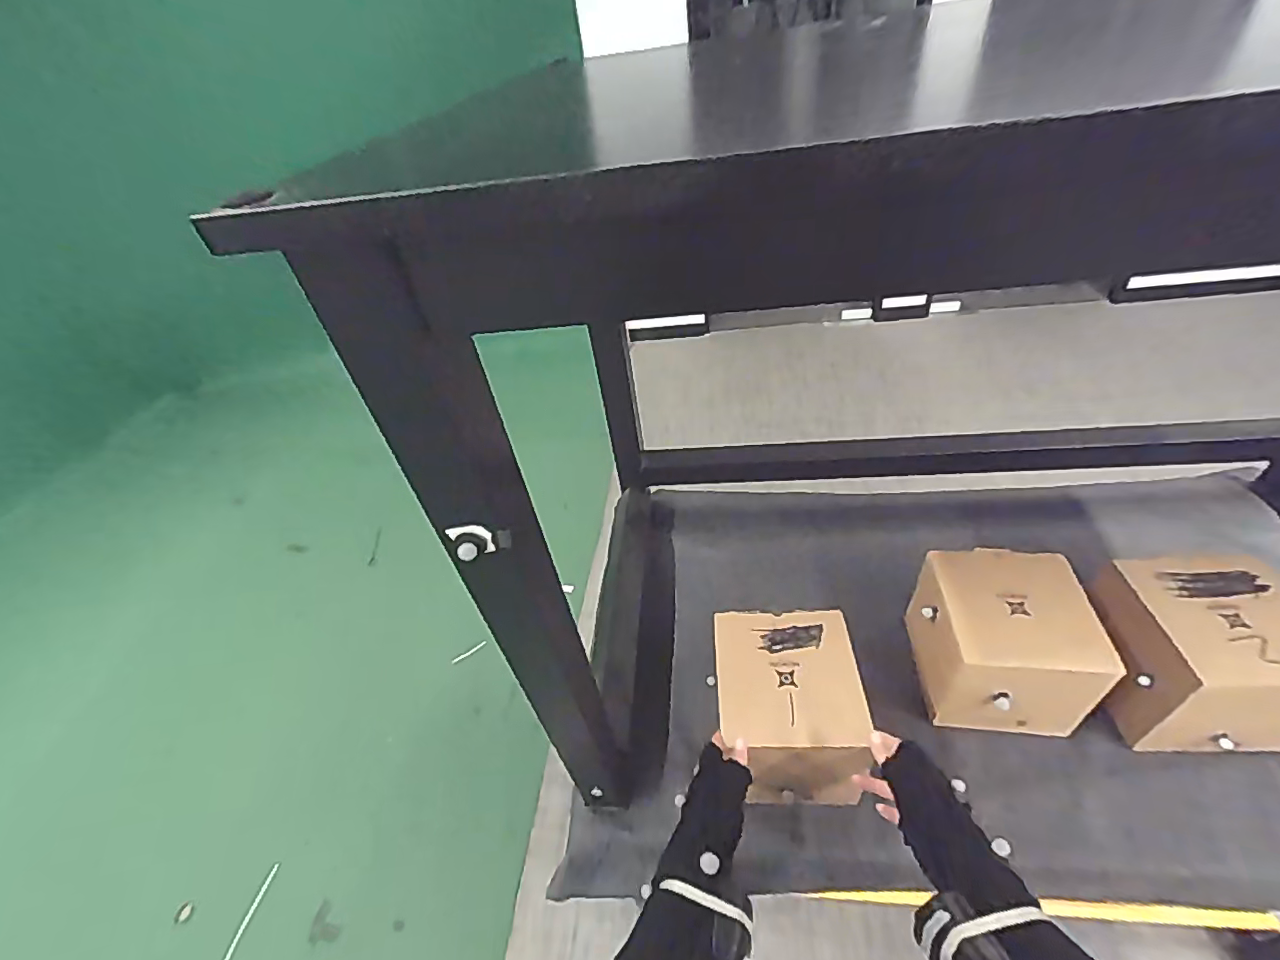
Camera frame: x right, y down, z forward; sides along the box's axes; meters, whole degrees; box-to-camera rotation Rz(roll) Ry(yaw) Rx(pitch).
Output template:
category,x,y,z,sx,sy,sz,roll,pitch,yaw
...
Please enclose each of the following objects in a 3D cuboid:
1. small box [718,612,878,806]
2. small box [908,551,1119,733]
category,x,y,z,sx,sy,sz,roll,pitch,yaw
small box,0.186,0.290,0.695,0.168,0.176,0.179,-3,41,7
small box,0.478,0.217,0.728,0.168,0.176,0.179,0,42,11
